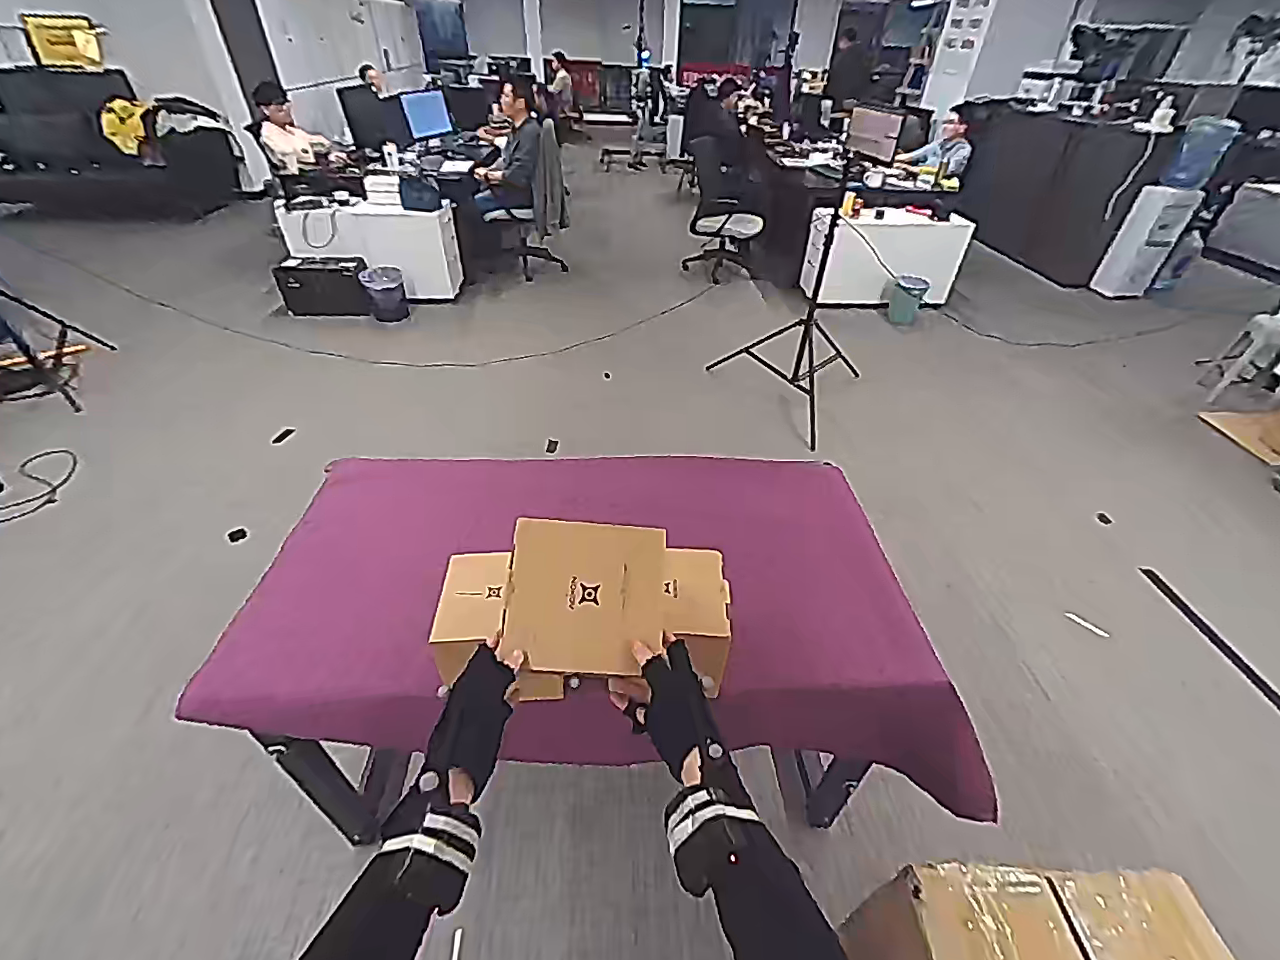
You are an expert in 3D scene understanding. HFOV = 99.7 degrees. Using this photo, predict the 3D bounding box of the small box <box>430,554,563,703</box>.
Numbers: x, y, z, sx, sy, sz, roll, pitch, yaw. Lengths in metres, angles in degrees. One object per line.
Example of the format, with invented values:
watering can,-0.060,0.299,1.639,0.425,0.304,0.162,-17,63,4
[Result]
small box,-0.209,0.235,0.858,0.179,0.176,0.168,-2,38,-3

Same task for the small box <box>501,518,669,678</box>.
small box,-0.064,0.154,0.673,0.179,0.176,0.168,5,69,-6

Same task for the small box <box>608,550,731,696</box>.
small box,0.041,0.231,0.876,0.179,0.176,0.168,3,38,0
